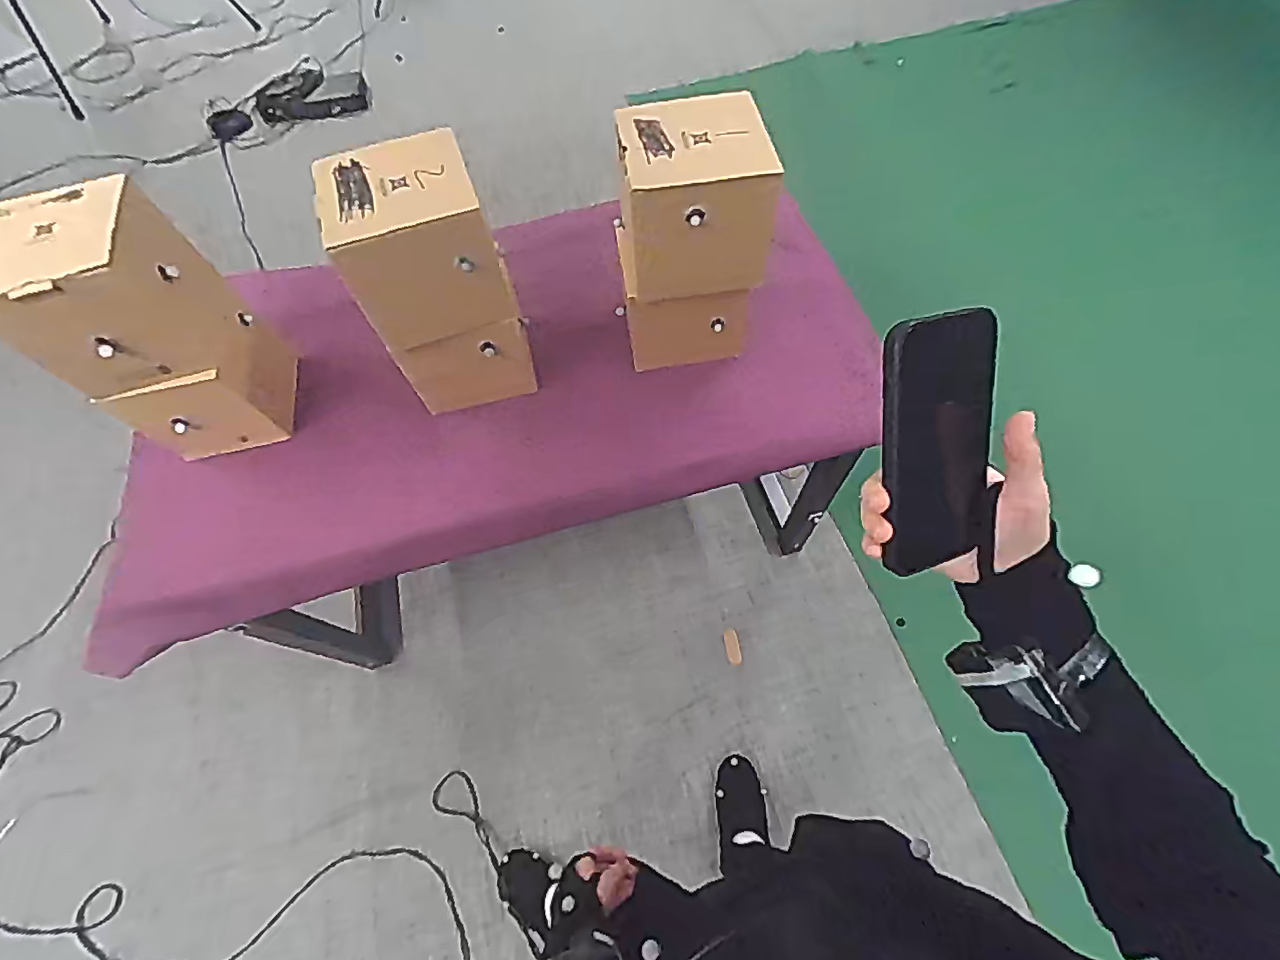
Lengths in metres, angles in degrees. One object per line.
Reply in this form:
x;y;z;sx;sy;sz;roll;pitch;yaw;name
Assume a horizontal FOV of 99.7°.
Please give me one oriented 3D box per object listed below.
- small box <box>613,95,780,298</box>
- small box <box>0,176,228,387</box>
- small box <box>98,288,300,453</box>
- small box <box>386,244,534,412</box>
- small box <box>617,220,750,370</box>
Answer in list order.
0.067;-0.360;0.707;0.179;0.176;0.168;-8;63;-1;small box
-0.665;-0.239;0.687;0.168;0.176;0.179;-18;65;-6;small box
-0.654;-0.157;0.829;0.168;0.176;0.179;-13;63;-3;small box
-0.271;-0.231;0.843;0.179;0.176;0.168;-14;63;-4;small box
0.064;-0.297;0.859;0.179;0.176;0.168;-8;63;0;small box
